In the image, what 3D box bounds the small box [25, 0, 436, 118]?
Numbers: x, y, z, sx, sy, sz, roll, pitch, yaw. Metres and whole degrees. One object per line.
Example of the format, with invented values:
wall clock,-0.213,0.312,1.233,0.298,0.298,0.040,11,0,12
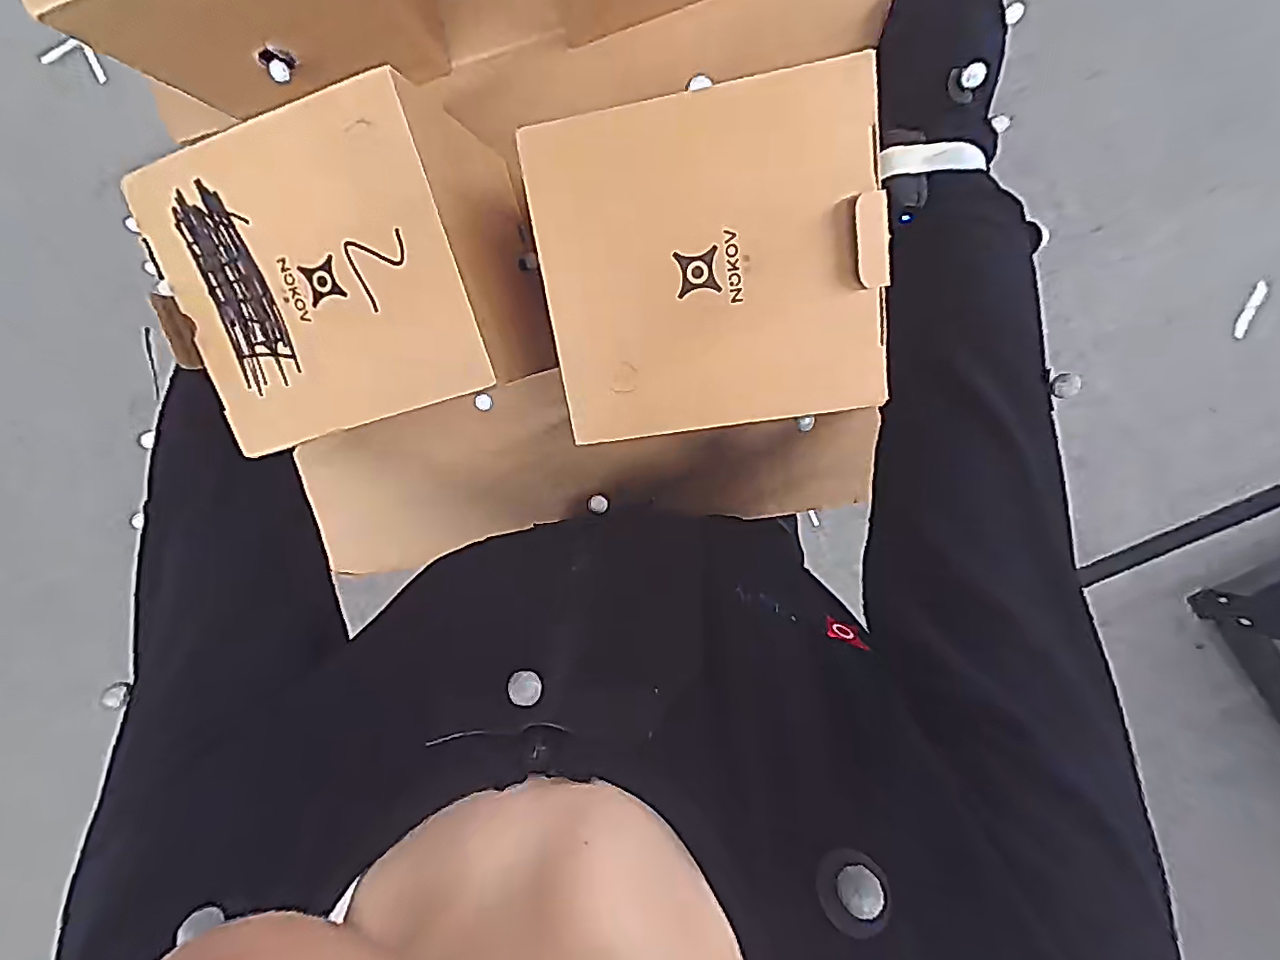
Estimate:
small box,-0.256,-0.361,0.338,0.168,0.176,0.179,-11,101,10
